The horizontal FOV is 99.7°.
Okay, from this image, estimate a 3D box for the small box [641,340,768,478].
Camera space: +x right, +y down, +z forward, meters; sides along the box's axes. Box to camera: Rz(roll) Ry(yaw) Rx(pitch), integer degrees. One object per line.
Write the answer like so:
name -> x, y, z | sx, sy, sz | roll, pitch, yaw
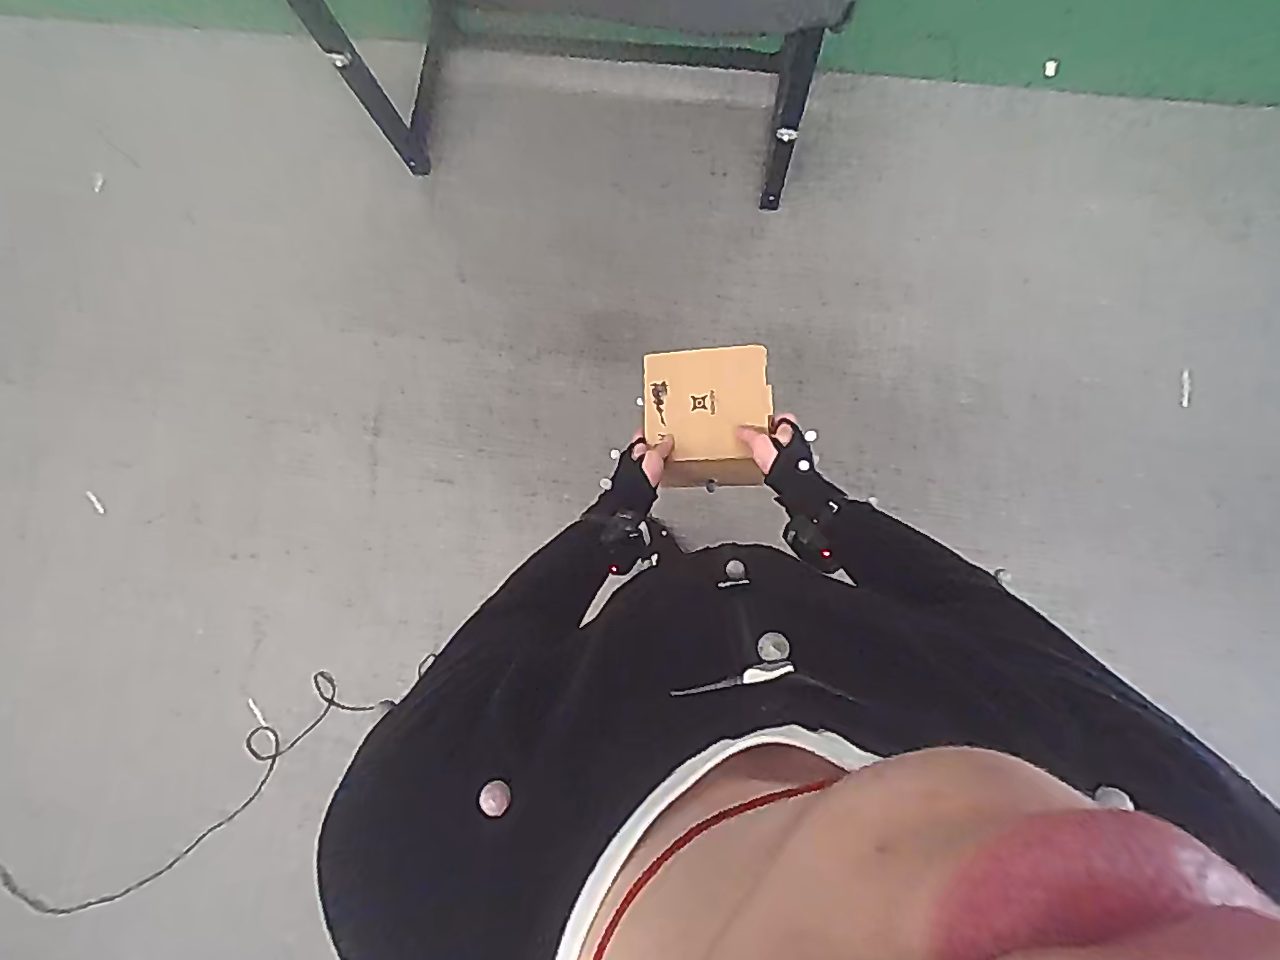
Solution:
small box -> 0.097, -0.100, 0.837 | 0.179, 0.176, 0.168 | -2, 77, 8
